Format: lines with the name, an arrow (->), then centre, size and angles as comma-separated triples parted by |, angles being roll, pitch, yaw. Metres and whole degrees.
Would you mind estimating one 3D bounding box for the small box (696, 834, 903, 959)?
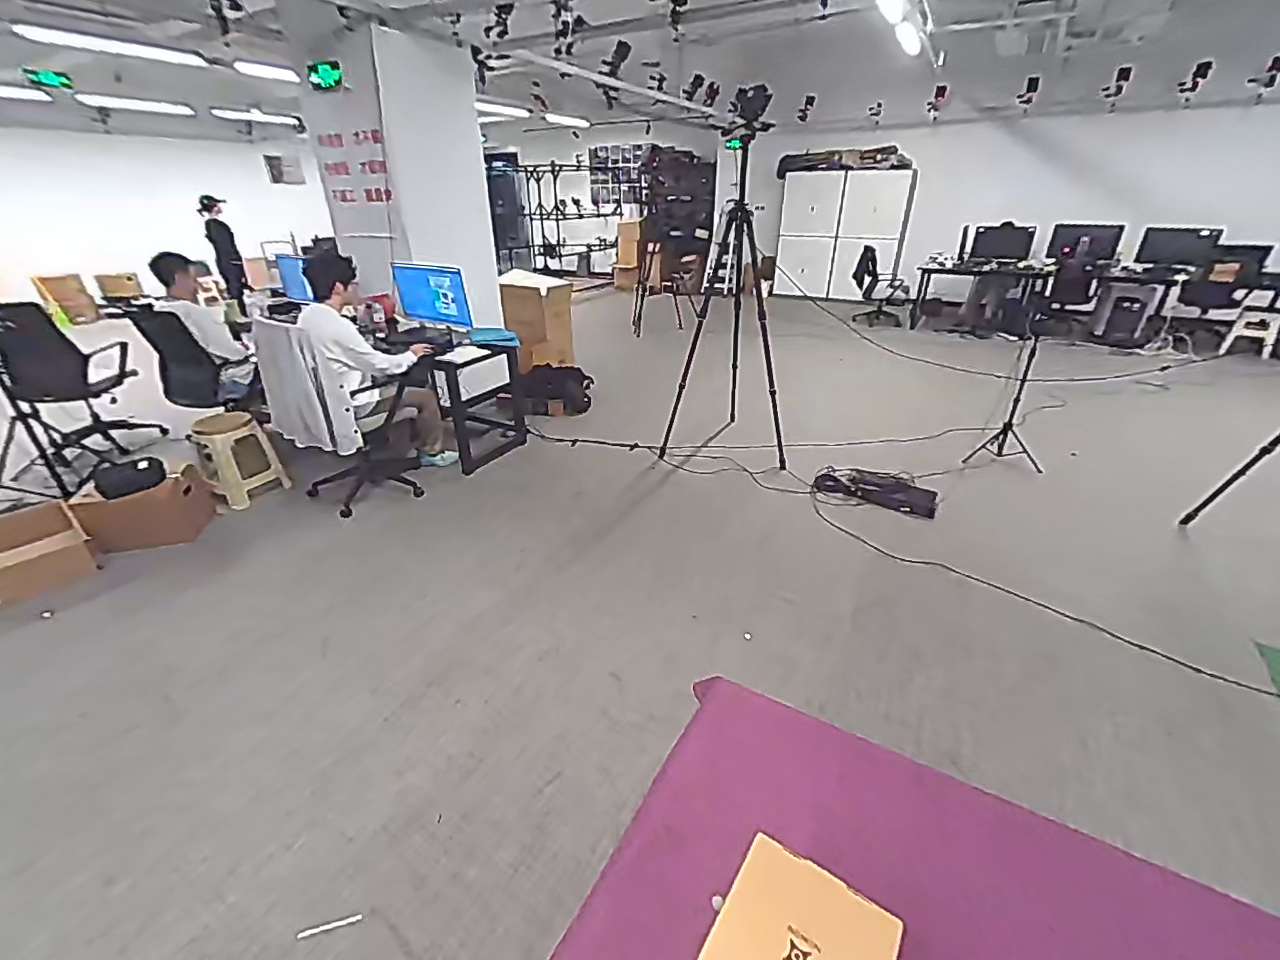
small box -> 0.161, 0.546, 0.578 | 0.168, 0.176, 0.179 | 17, 31, 31
